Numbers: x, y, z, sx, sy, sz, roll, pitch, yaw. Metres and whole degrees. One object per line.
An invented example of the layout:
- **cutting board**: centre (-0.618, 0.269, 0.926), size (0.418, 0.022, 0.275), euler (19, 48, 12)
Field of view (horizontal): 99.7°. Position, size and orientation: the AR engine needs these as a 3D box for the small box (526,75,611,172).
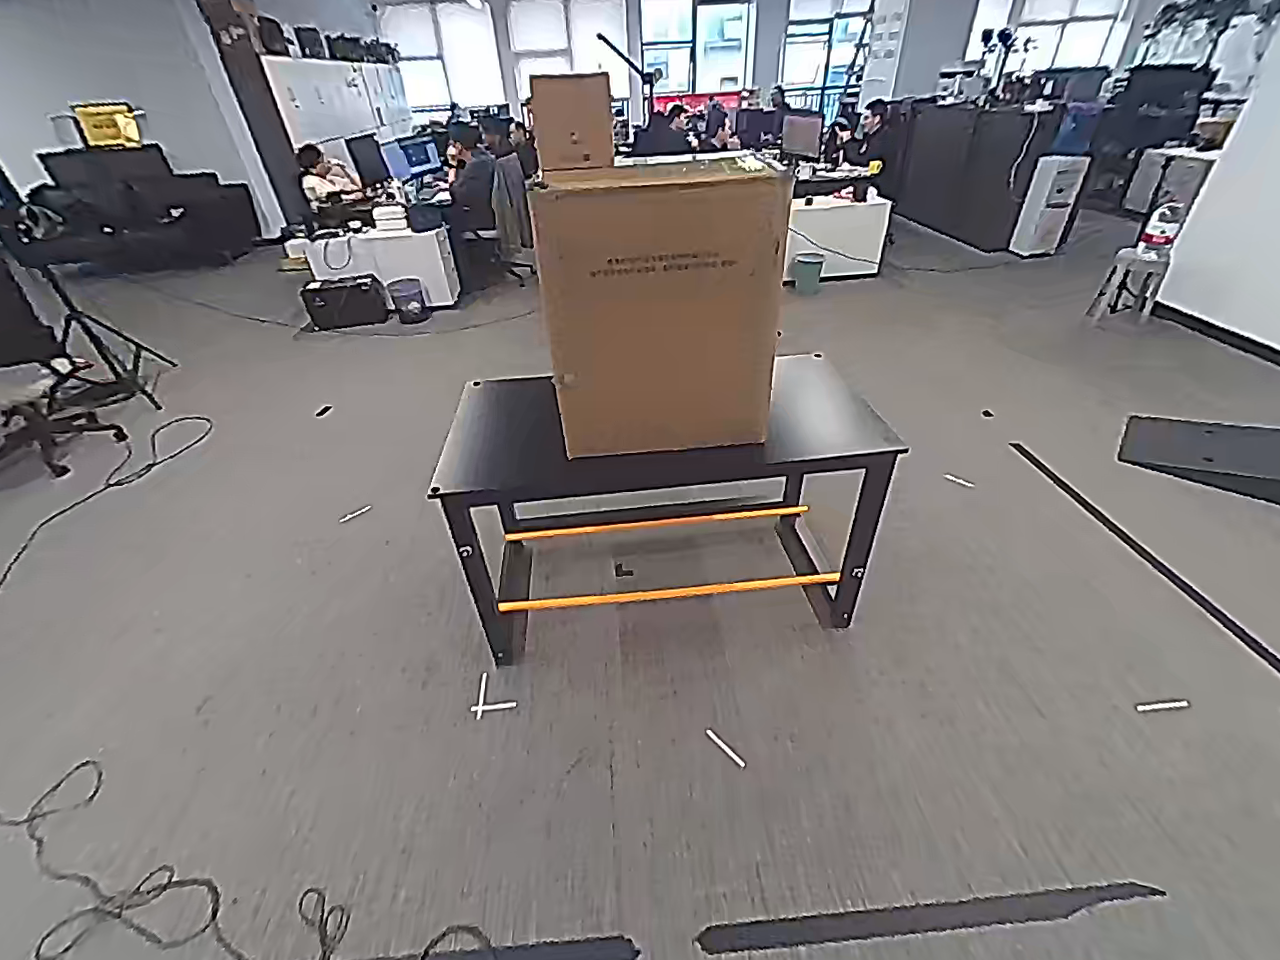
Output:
- **small box**: centre (-0.156, -0.788, 1.201), size (0.168, 0.176, 0.179), euler (-6, 35, -5)
